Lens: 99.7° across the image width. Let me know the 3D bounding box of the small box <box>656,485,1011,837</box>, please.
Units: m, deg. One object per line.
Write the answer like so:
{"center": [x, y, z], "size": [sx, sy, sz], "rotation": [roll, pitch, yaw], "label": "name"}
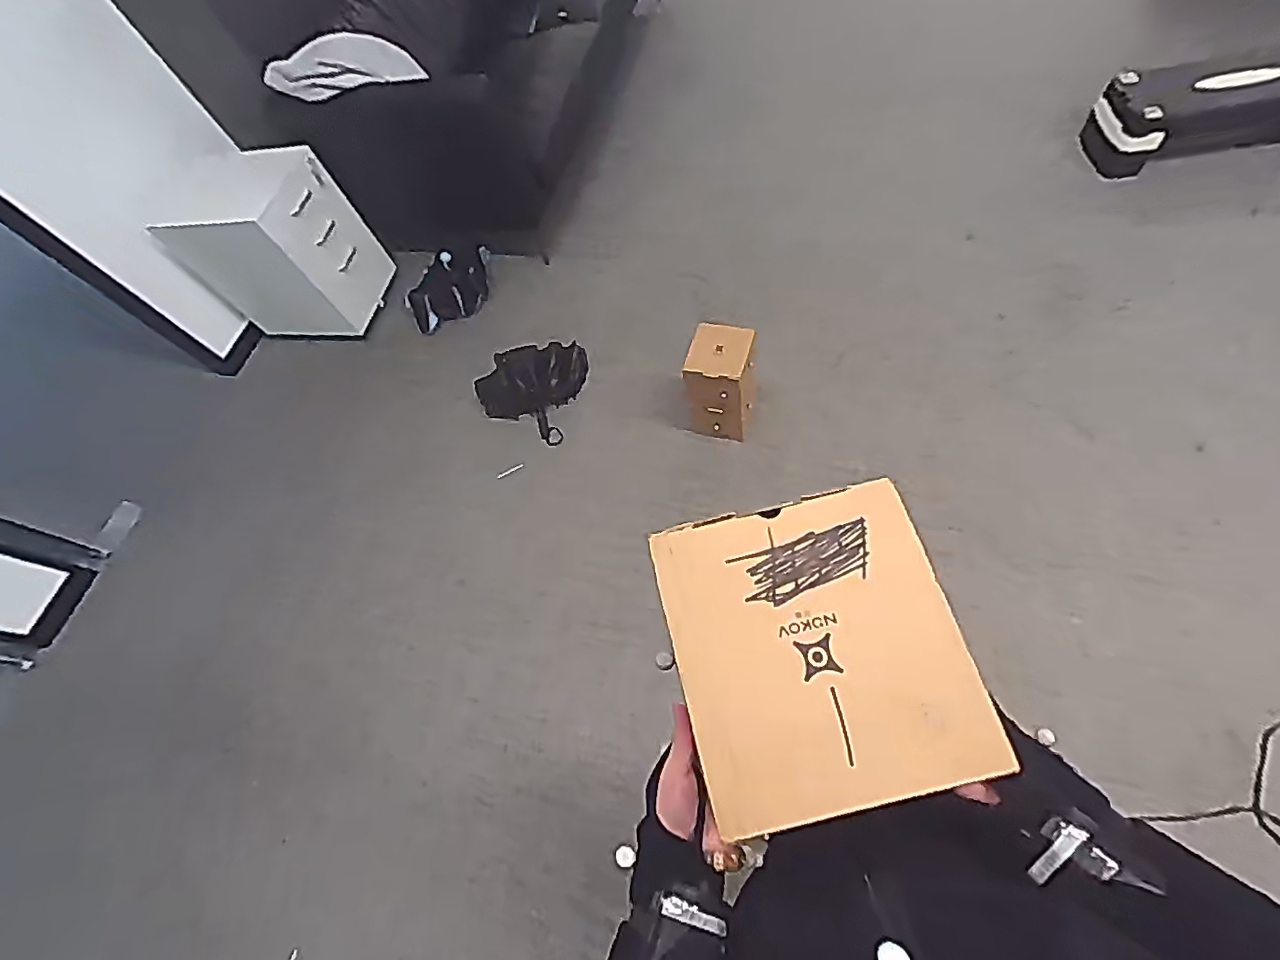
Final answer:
{"center": [0.111, 0.127, 0.396], "size": [0.168, 0.176, 0.179], "rotation": [-14, 68, 0], "label": "small box"}
